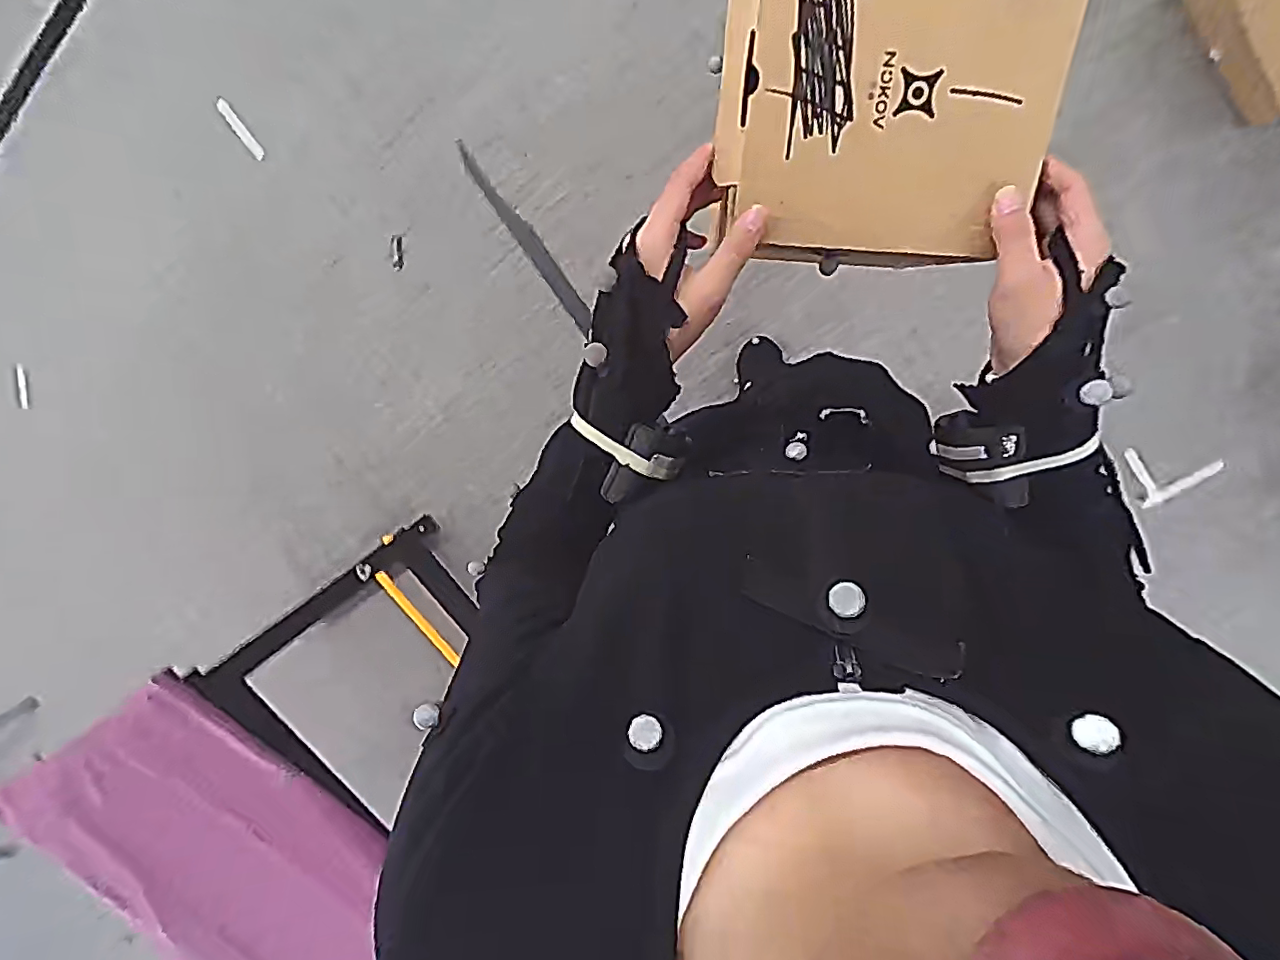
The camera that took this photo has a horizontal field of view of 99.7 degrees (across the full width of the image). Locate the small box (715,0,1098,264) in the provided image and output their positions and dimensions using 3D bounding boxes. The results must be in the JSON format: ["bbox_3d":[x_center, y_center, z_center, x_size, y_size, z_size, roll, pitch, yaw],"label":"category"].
[{"bbox_3d":[0.153,-0.246,0.374,0.179,0.176,0.168,5,111,-1],"label":"small box"}]
